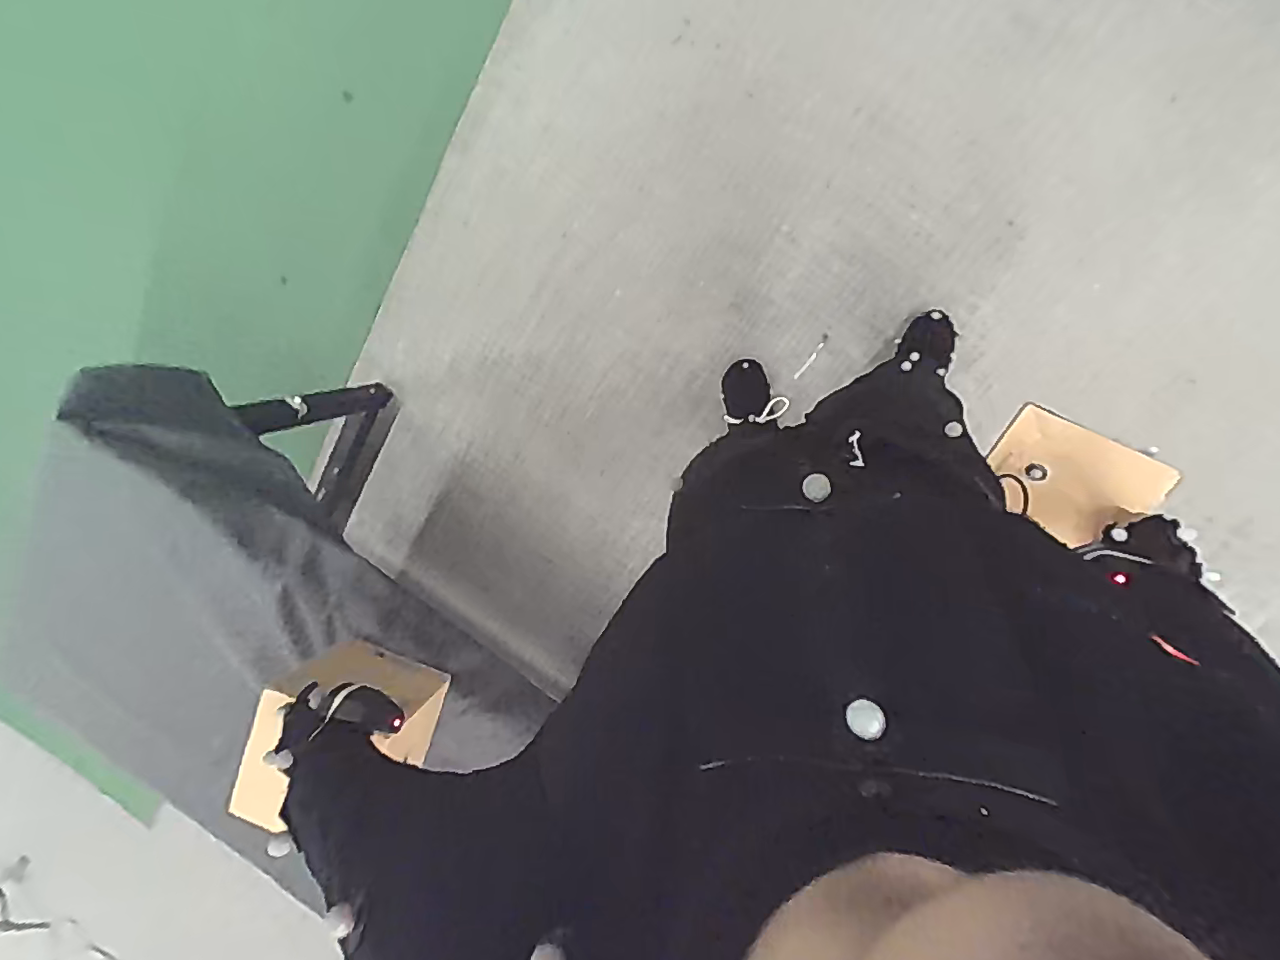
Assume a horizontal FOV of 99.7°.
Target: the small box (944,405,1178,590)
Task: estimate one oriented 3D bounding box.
[{"bbox_3d":[0.535,0.011,0.717,0.176,0.179,0.168,38,115,24],"label":"small box"}]
